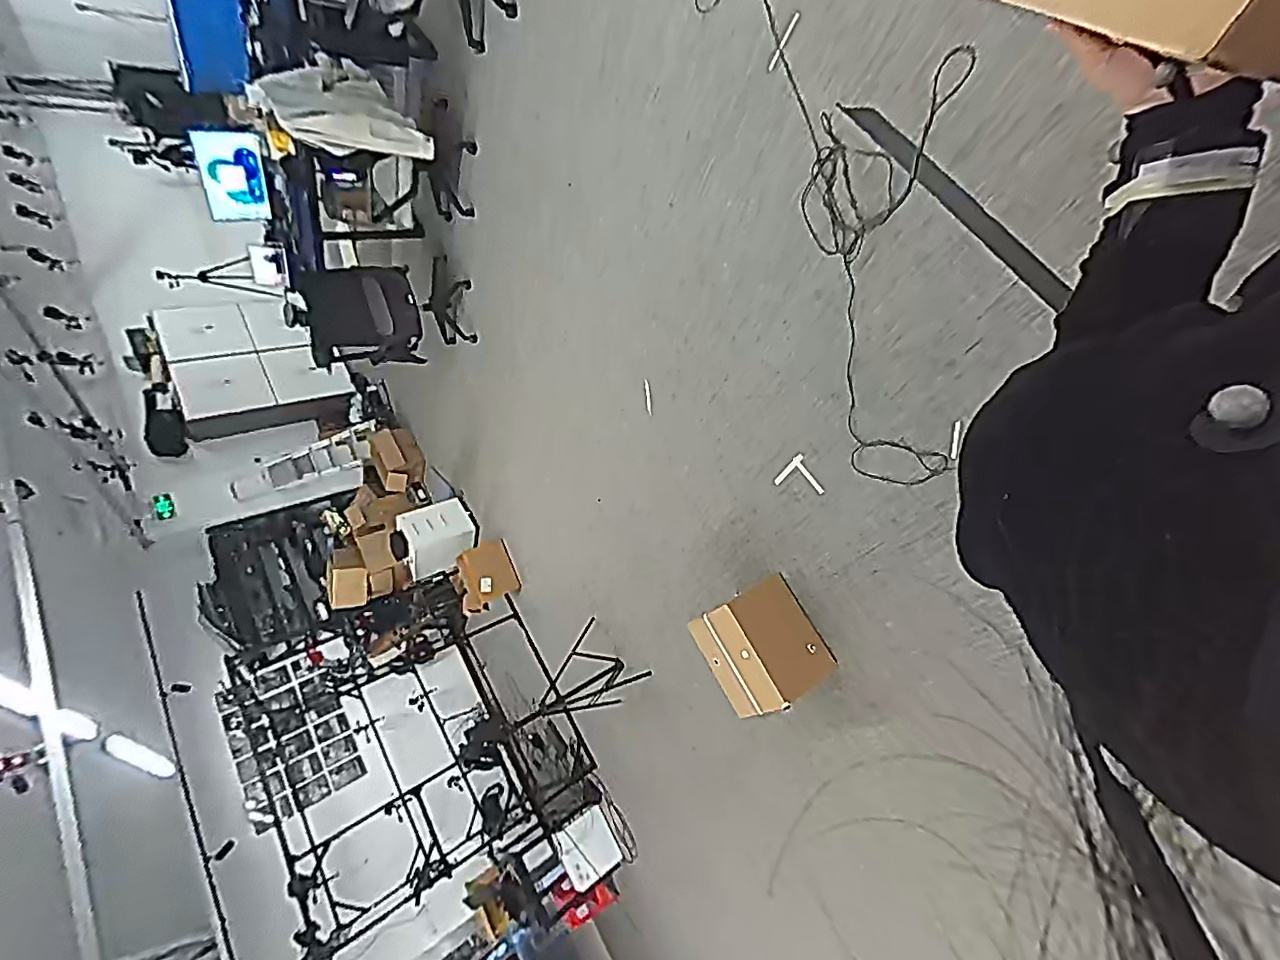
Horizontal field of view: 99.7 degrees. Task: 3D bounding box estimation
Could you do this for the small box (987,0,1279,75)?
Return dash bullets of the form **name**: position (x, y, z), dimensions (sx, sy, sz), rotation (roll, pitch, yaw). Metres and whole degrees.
- **small box**: position (0.295, -0.319, 0.260), dimensions (0.179, 0.176, 0.168), rotation (57, 149, 32)
